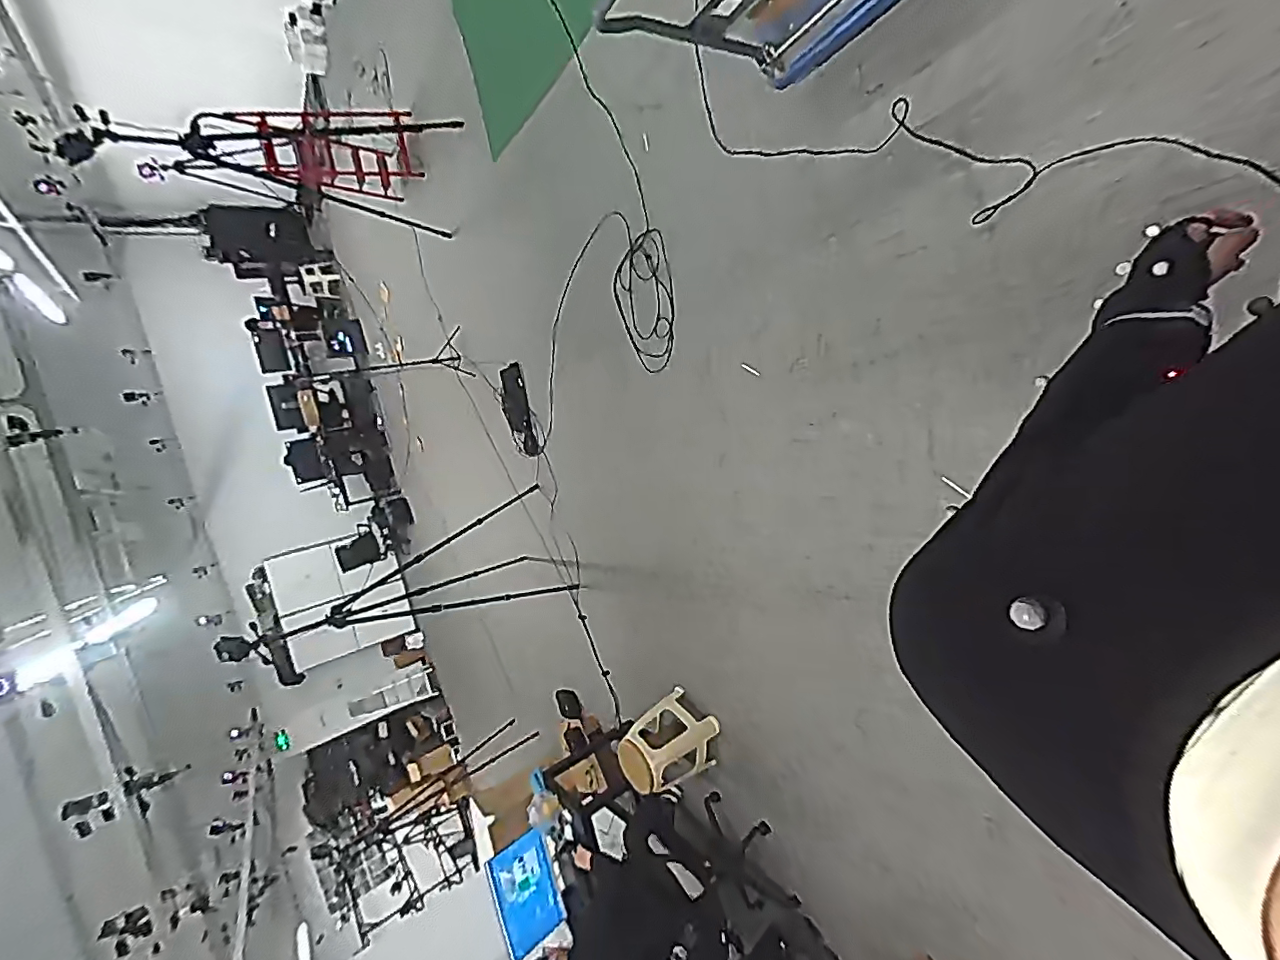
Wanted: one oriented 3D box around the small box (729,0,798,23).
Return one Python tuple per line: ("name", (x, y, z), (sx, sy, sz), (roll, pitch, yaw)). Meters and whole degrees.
("small box", (0.343, -1.365, 1.426), (0.179, 0.176, 0.168), (-1, 103, 55))
